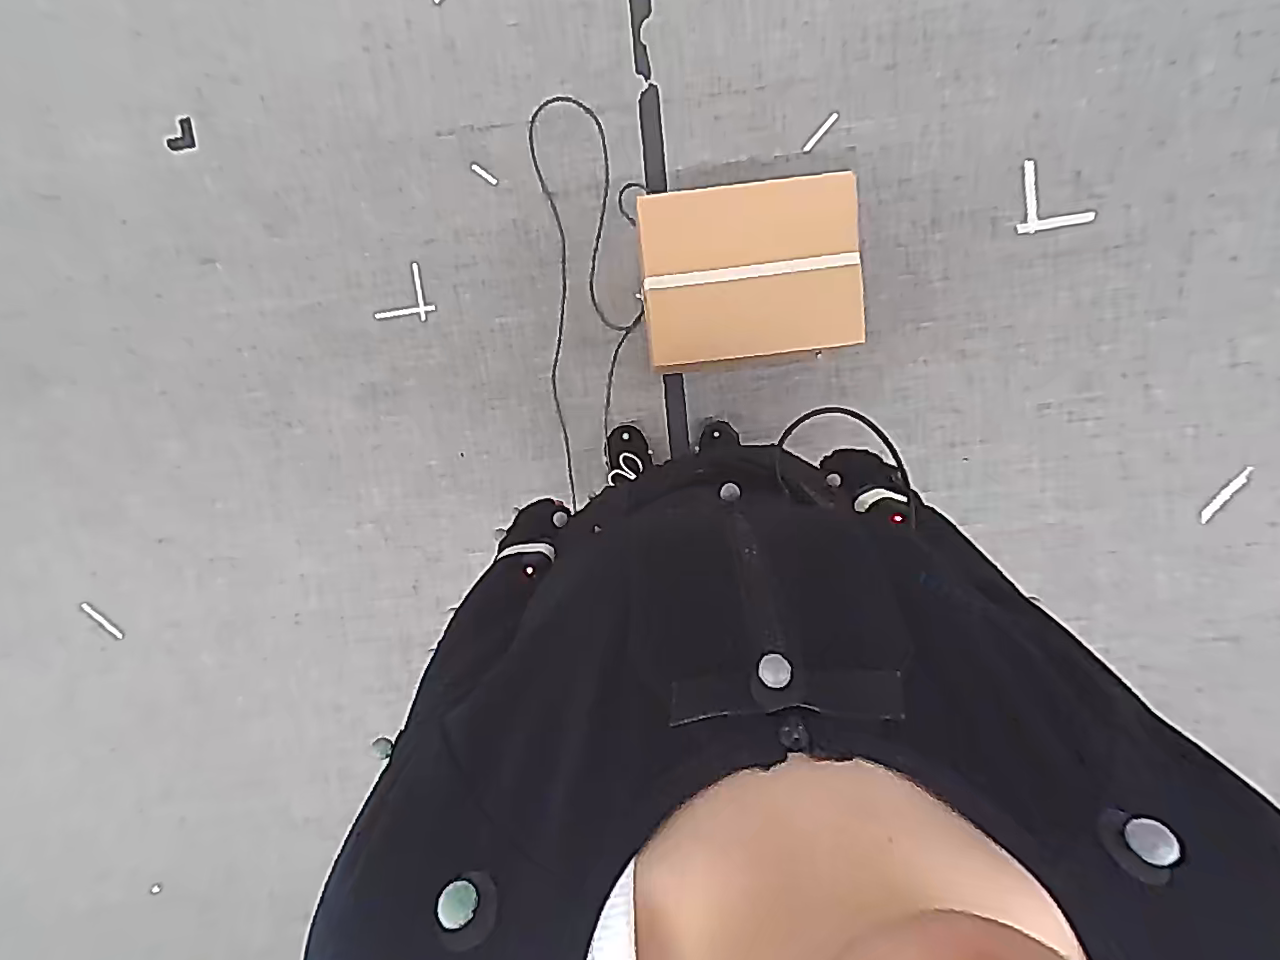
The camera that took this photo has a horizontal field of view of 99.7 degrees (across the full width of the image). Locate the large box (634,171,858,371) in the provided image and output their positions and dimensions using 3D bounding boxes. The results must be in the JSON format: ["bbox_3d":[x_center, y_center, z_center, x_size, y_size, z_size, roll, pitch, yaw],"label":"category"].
[{"bbox_3d":[0.207,-0.418,1.164,0.408,0.320,0.320,-6,98,2],"label":"large box"}]
